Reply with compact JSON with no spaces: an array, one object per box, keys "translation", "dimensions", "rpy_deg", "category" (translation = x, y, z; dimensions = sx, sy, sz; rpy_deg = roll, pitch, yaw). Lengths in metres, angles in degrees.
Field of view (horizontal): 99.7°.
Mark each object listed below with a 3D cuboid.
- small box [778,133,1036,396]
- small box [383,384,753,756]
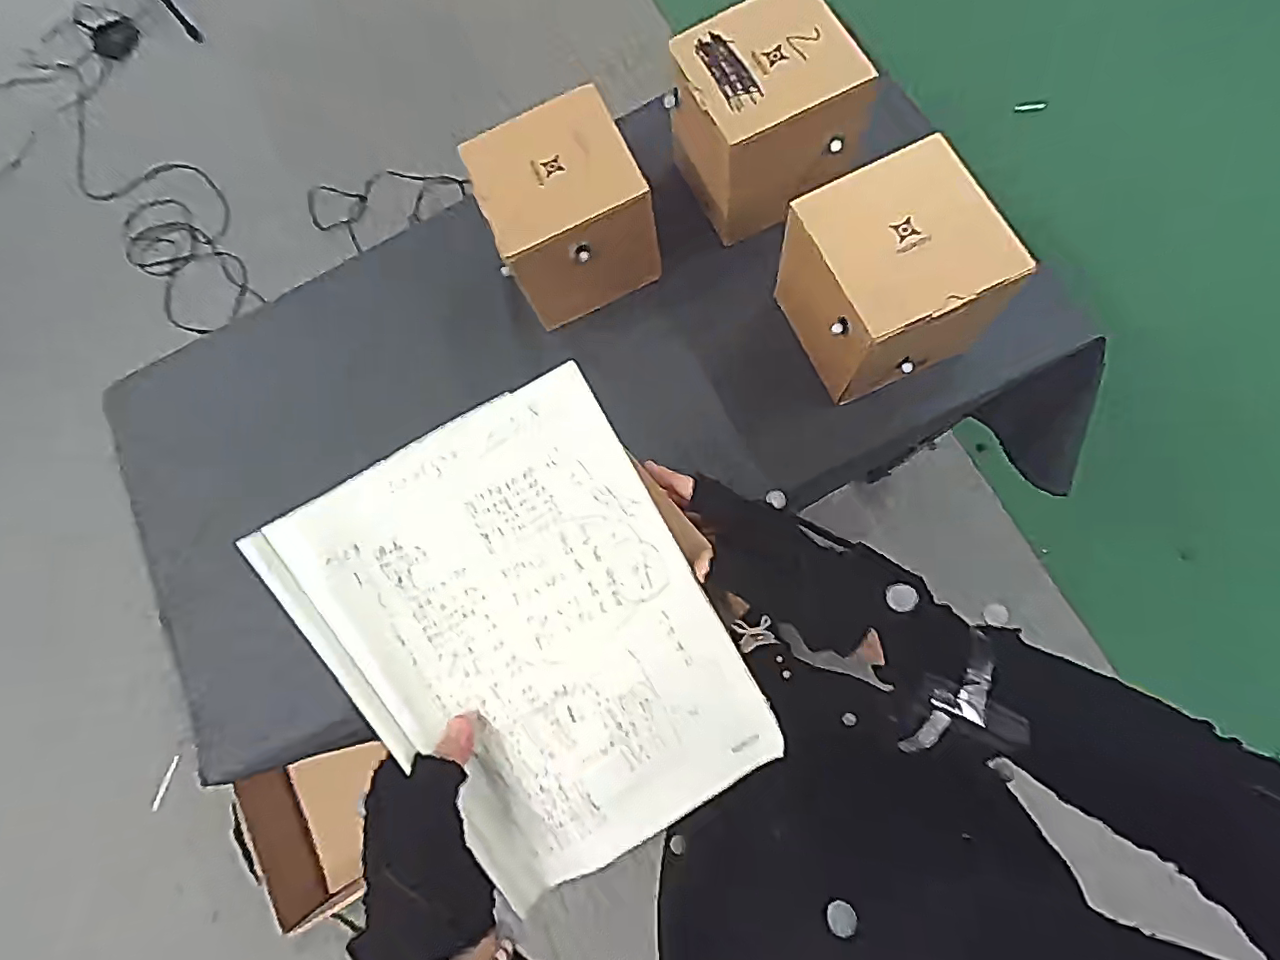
[{"translation":[0.269,-0.223,0.598],"dimensions":[0.168,0.176,0.179],"rpy_deg":[-24,75,2],"category":"small box"},{"translation":[-0.047,0.060,0.415],"dimensions":[0.179,0.176,0.168],"rpy_deg":[-40,88,-6],"category":"small box"}]
